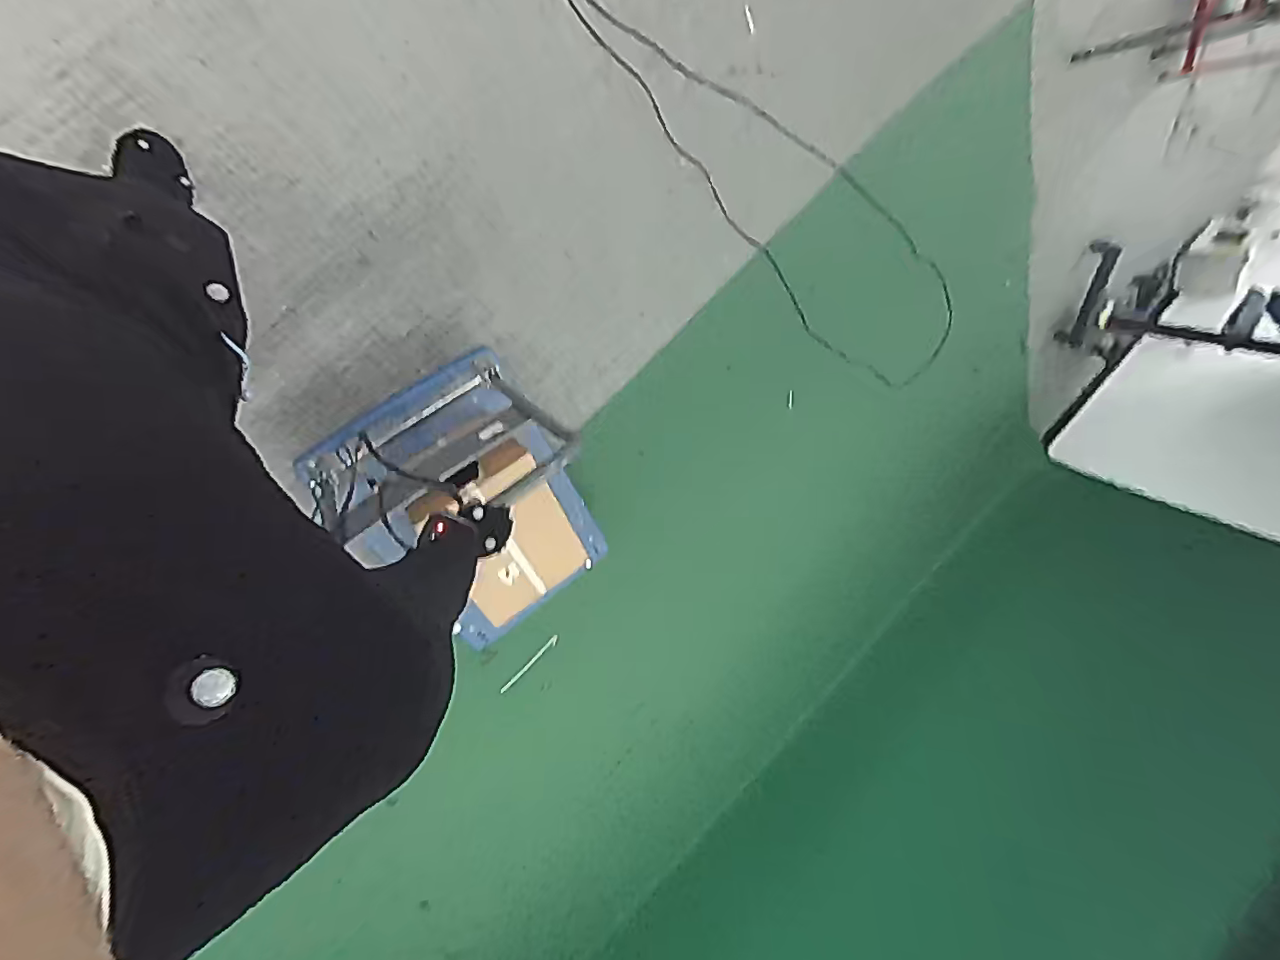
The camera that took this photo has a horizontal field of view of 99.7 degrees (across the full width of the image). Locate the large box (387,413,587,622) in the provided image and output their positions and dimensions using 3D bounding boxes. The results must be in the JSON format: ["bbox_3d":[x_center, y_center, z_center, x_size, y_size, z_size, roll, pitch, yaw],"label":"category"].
[{"bbox_3d":[-0.409,0.094,1.468,0.320,0.320,0.408,-35,131,-15],"label":"large box"}]
